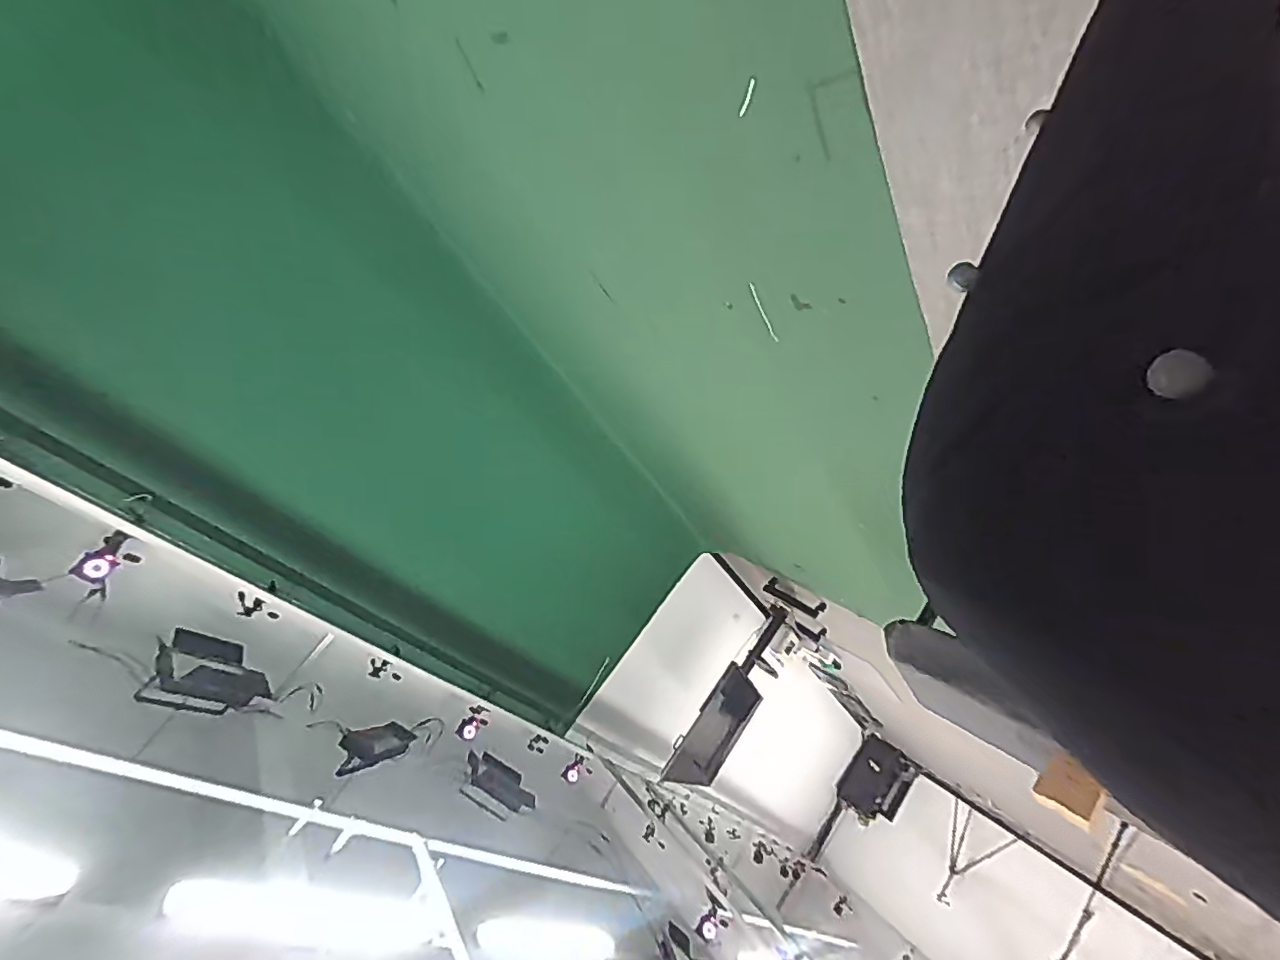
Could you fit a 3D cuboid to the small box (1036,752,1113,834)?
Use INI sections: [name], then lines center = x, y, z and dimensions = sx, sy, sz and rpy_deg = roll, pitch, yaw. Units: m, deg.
[small box]
center = 1.519, 1.088, 1.888
dimensions = 0.168, 0.176, 0.179
rpy_deg = 22, 159, 51
